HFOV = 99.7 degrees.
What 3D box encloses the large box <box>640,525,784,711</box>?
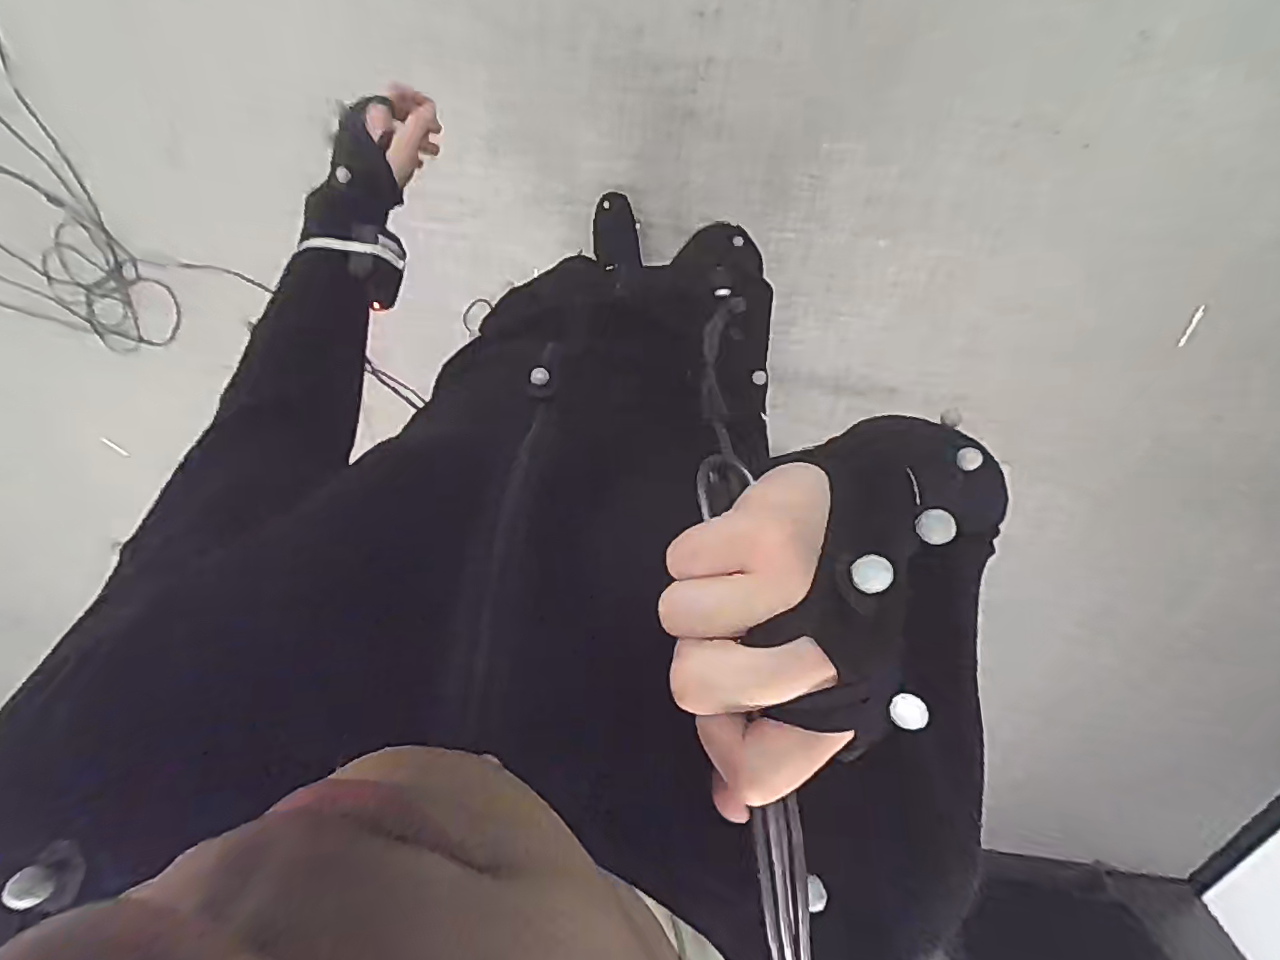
[{"bbox_3d":[0.189,0.393,1.574,0.320,0.320,0.408,11,119,-2],"label":"large box"}]
